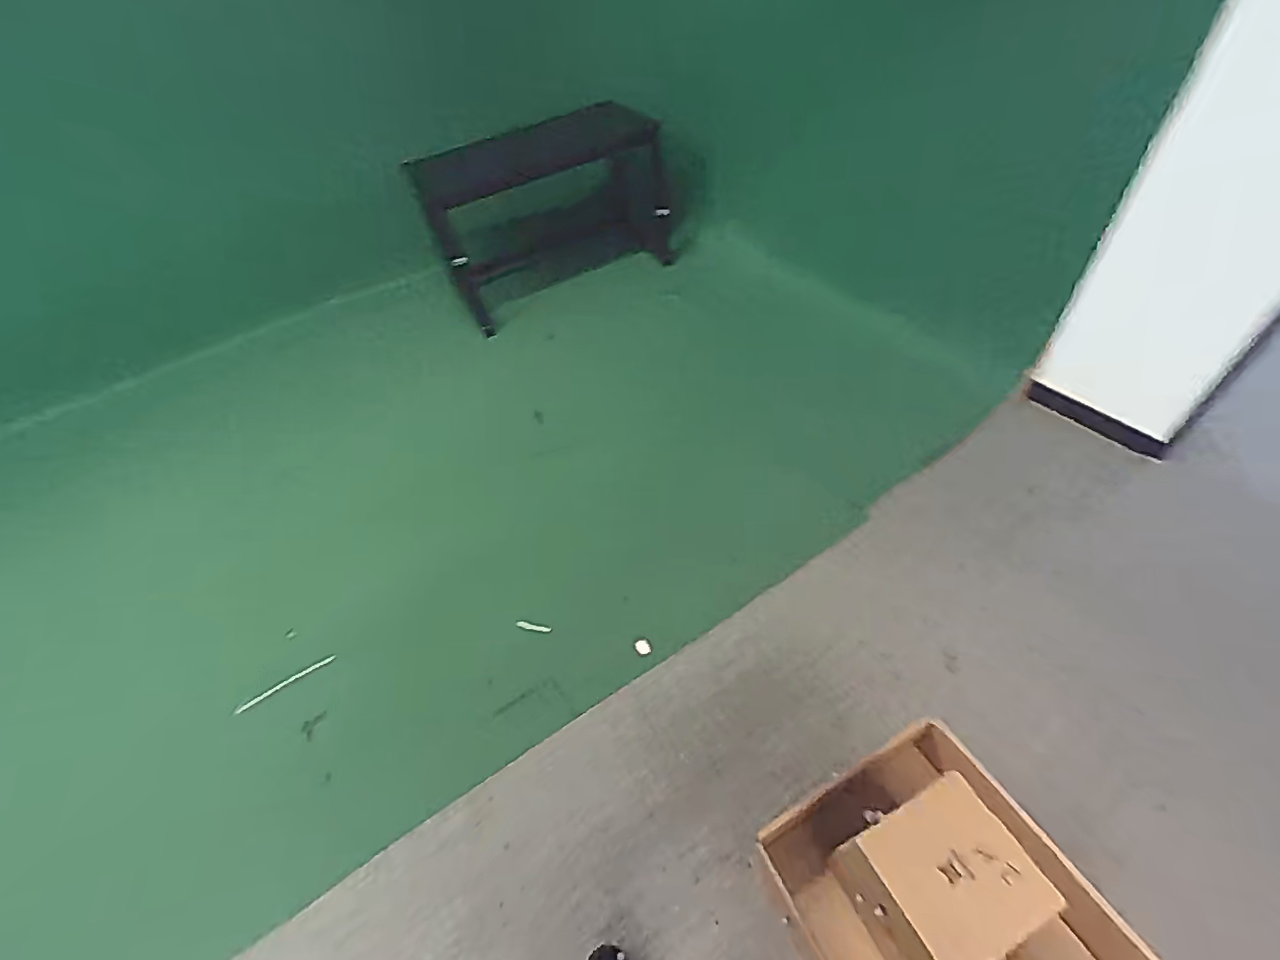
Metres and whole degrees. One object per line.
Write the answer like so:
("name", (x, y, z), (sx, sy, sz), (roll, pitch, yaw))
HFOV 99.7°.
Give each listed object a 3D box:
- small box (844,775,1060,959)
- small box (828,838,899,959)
("small box", (0.398, 0.540, 0.729), (0.179, 0.176, 0.168), (-25, 51, -11))
("small box", (0.424, 0.641, 0.856), (0.179, 0.176, 0.168), (-23, 49, -11))
